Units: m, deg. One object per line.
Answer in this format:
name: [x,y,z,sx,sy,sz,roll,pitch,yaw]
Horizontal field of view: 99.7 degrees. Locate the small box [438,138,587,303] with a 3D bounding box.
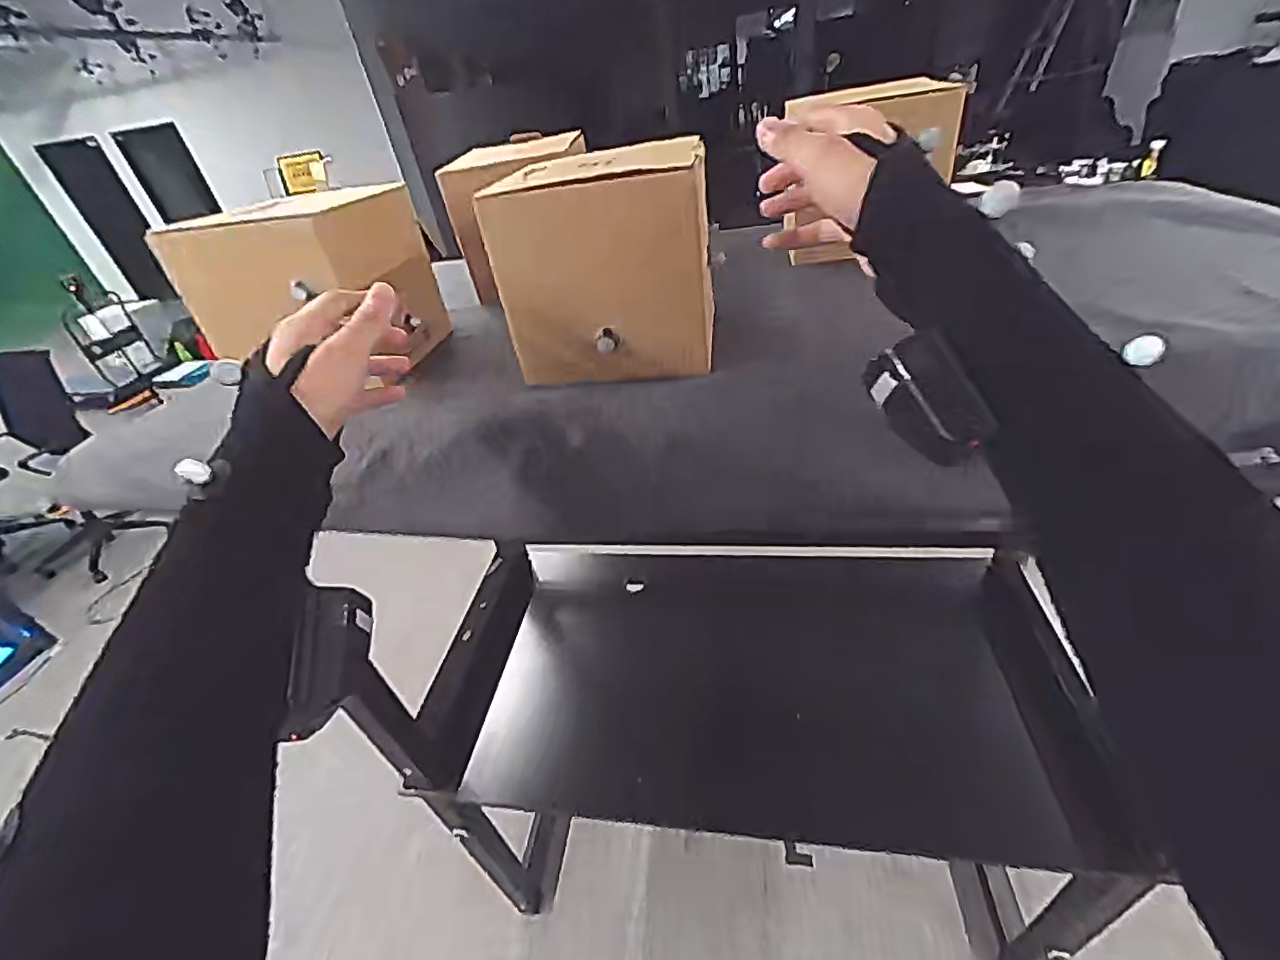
small box: [-0.152,-0.363,0.759,0.168,0.176,0.179,-6,37,7]

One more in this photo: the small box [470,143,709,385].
small box: [-0.027,-0.203,0.514,0.179,0.176,0.168,-2,36,11]

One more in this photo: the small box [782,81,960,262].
small box: [0.275,-0.389,0.688,0.179,0.176,0.168,-1,38,12]
